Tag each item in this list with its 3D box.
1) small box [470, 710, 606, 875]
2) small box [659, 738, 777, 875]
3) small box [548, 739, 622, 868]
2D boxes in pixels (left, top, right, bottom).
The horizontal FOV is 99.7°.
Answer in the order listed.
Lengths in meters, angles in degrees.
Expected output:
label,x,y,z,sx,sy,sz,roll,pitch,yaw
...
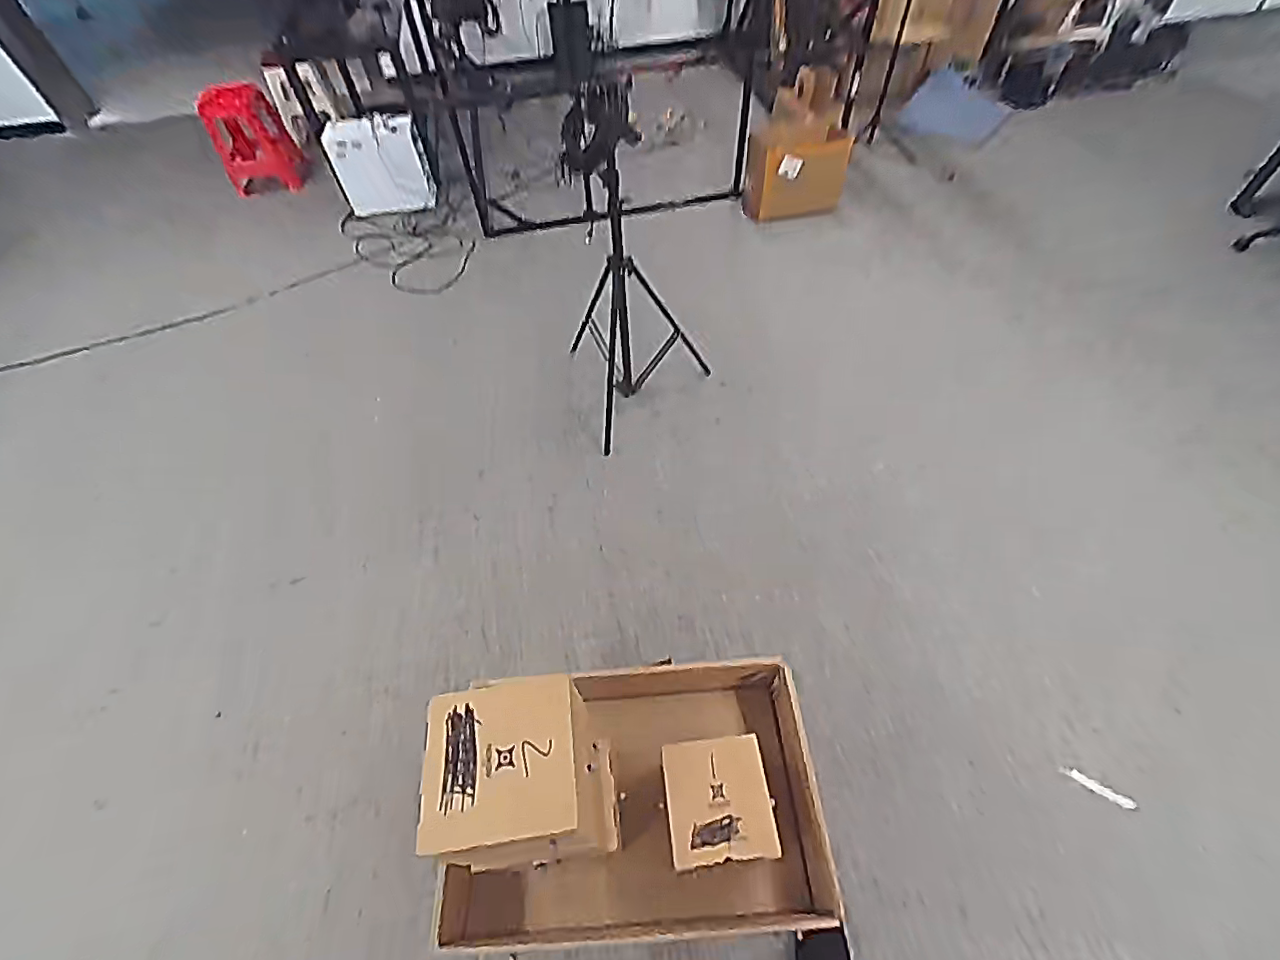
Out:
label,x,y,z,sx,sy,sz,roll,pitch,yaw
small box,-0.146,0.469,0.809,0.168,0.176,0.179,-9,53,-3
small box,0.126,0.562,0.929,0.168,0.176,0.179,-7,53,-2
small box,-0.130,0.566,0.939,0.179,0.176,0.168,-6,54,-3
